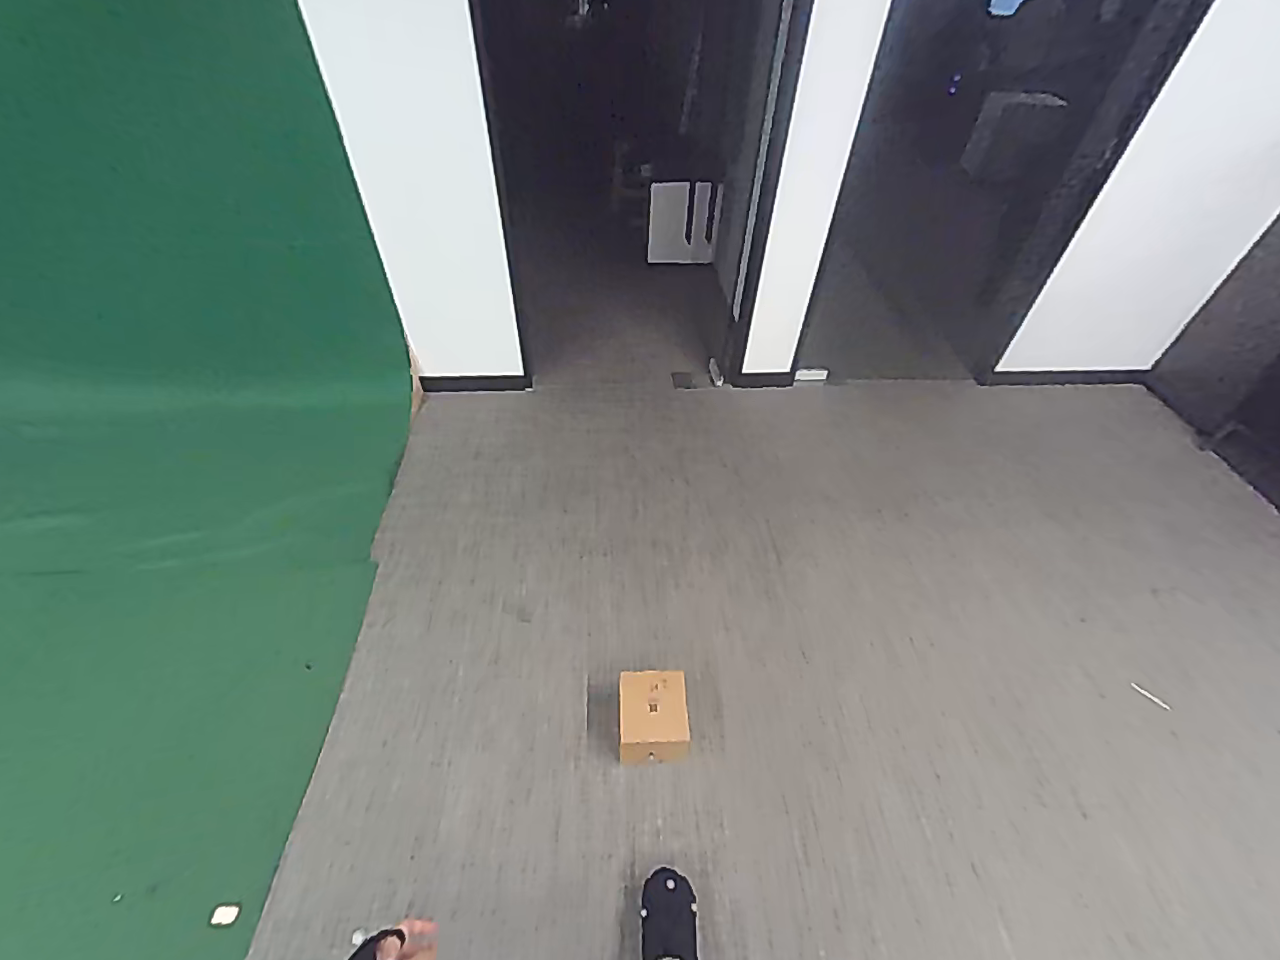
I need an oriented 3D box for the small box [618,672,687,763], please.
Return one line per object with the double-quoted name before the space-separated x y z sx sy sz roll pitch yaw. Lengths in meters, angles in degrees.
"small box" 0.028 0.610 1.379 0.168 0.176 0.179 0 47 -3
